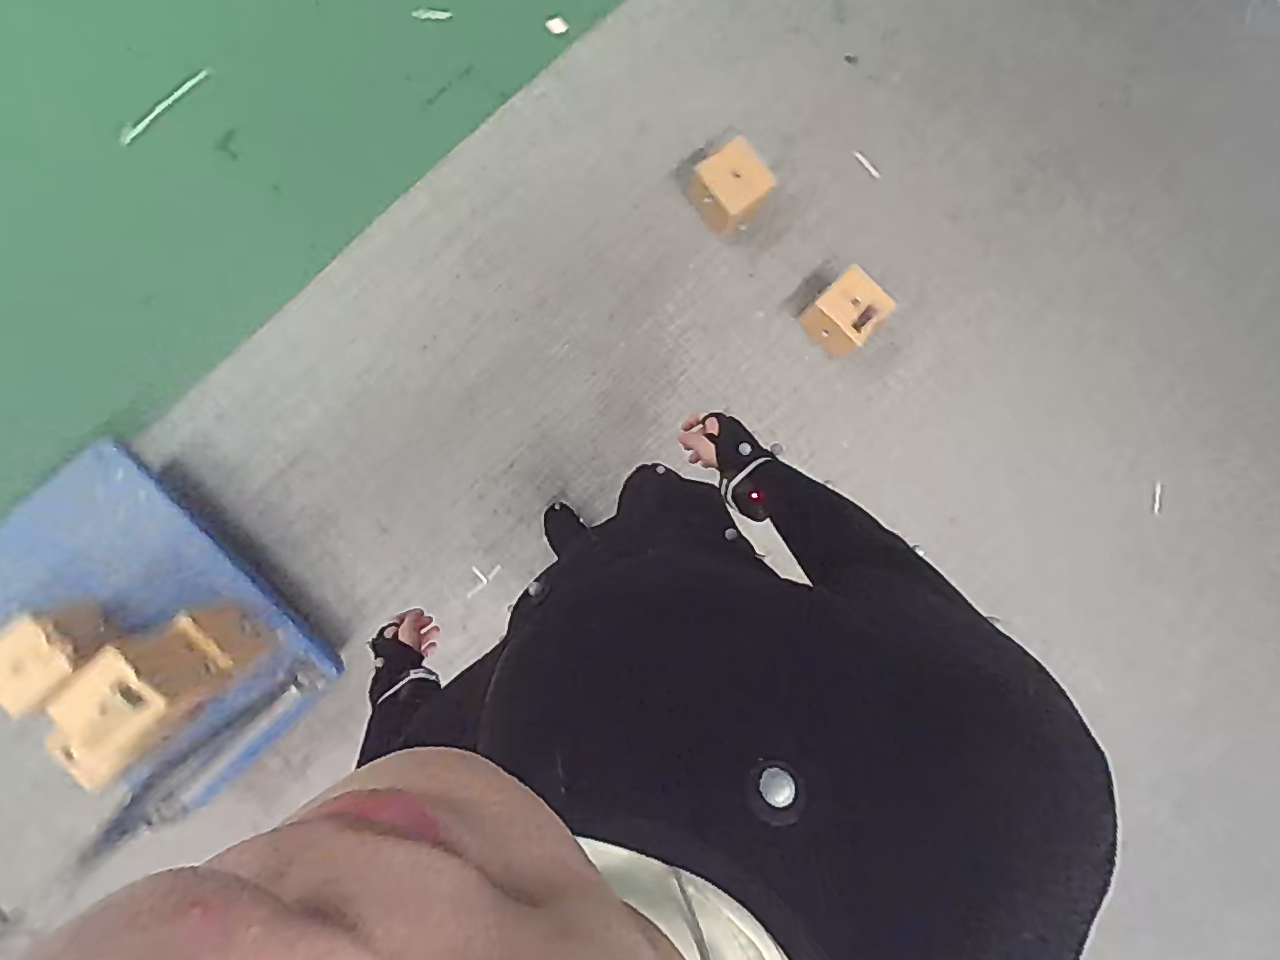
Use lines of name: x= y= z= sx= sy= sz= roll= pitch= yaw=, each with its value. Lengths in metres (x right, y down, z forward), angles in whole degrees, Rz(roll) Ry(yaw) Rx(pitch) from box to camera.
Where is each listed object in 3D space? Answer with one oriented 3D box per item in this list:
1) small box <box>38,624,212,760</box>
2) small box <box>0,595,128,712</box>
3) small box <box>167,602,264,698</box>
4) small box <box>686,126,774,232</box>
small box: x=-1.061 y=0.432 z=1.138 sx=0.179 sy=0.176 sz=0.168 roll=-44 pitch=92 yaw=-2
small box: x=-1.397 y=0.401 z=1.280 sx=0.179 sy=0.176 sz=0.168 roll=-40 pitch=93 yaw=-3
small box: x=-1.056 y=0.416 z=1.311 sx=0.168 sy=0.176 sz=0.179 roll=-14 pitch=91 yaw=-5
small box: x=0.253 y=-0.864 z=1.570 sx=0.168 sy=0.176 sz=0.179 roll=-38 pitch=92 yaw=-3
